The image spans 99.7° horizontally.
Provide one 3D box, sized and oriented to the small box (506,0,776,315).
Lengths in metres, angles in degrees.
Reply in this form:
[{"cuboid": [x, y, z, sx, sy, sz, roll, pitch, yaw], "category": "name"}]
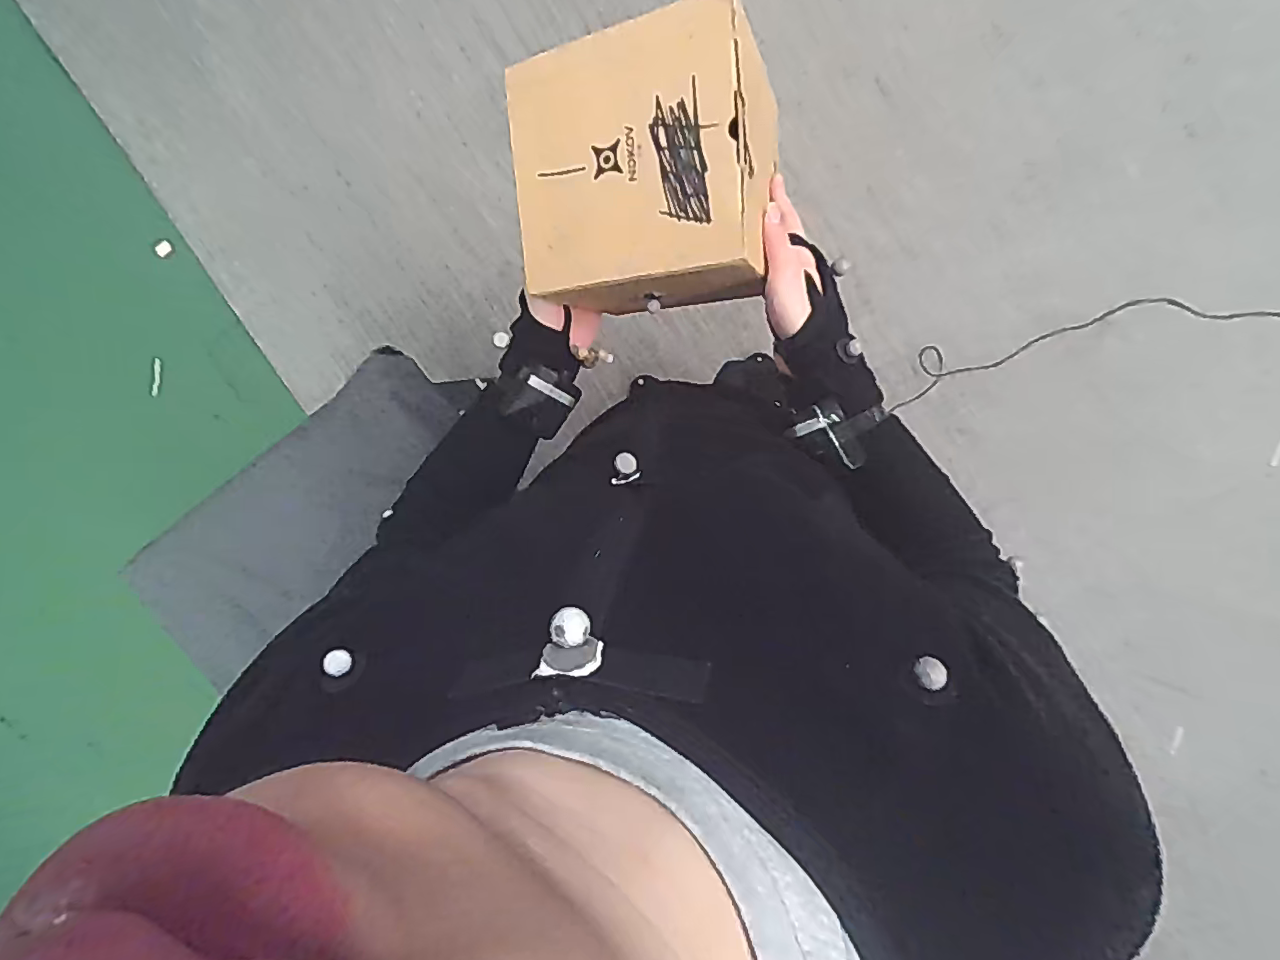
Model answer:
[{"cuboid": [0.016, -0.240, 0.456, 0.179, 0.176, 0.168, -1, 99, 25], "category": "small box"}]
